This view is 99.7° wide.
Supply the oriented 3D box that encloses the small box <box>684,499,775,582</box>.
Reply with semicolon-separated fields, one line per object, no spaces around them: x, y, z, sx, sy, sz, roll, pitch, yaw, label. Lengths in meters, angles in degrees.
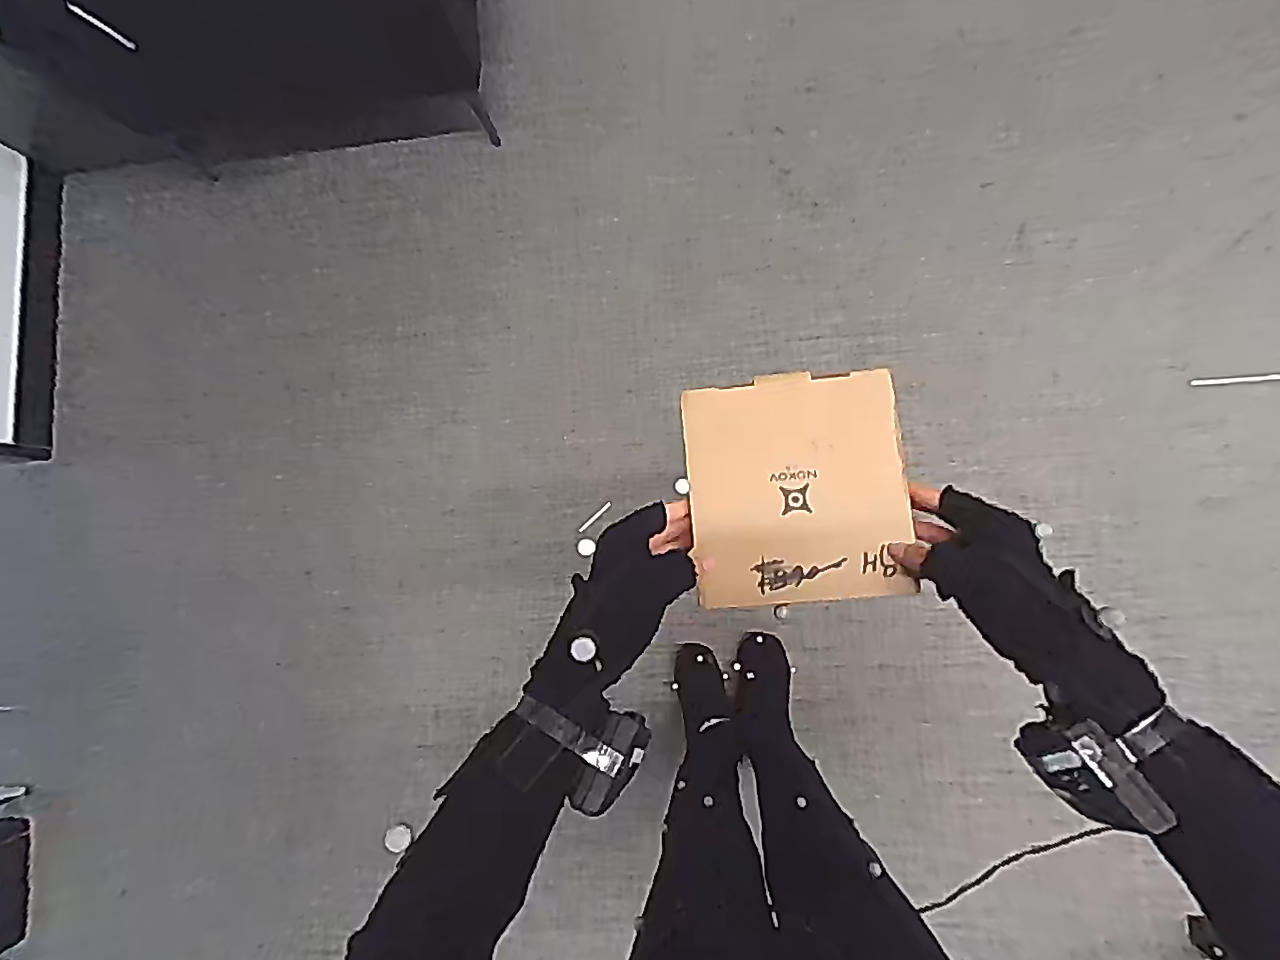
0.191;0.131;1.165;0.179;0.176;0.168;-3;84;7;small box
